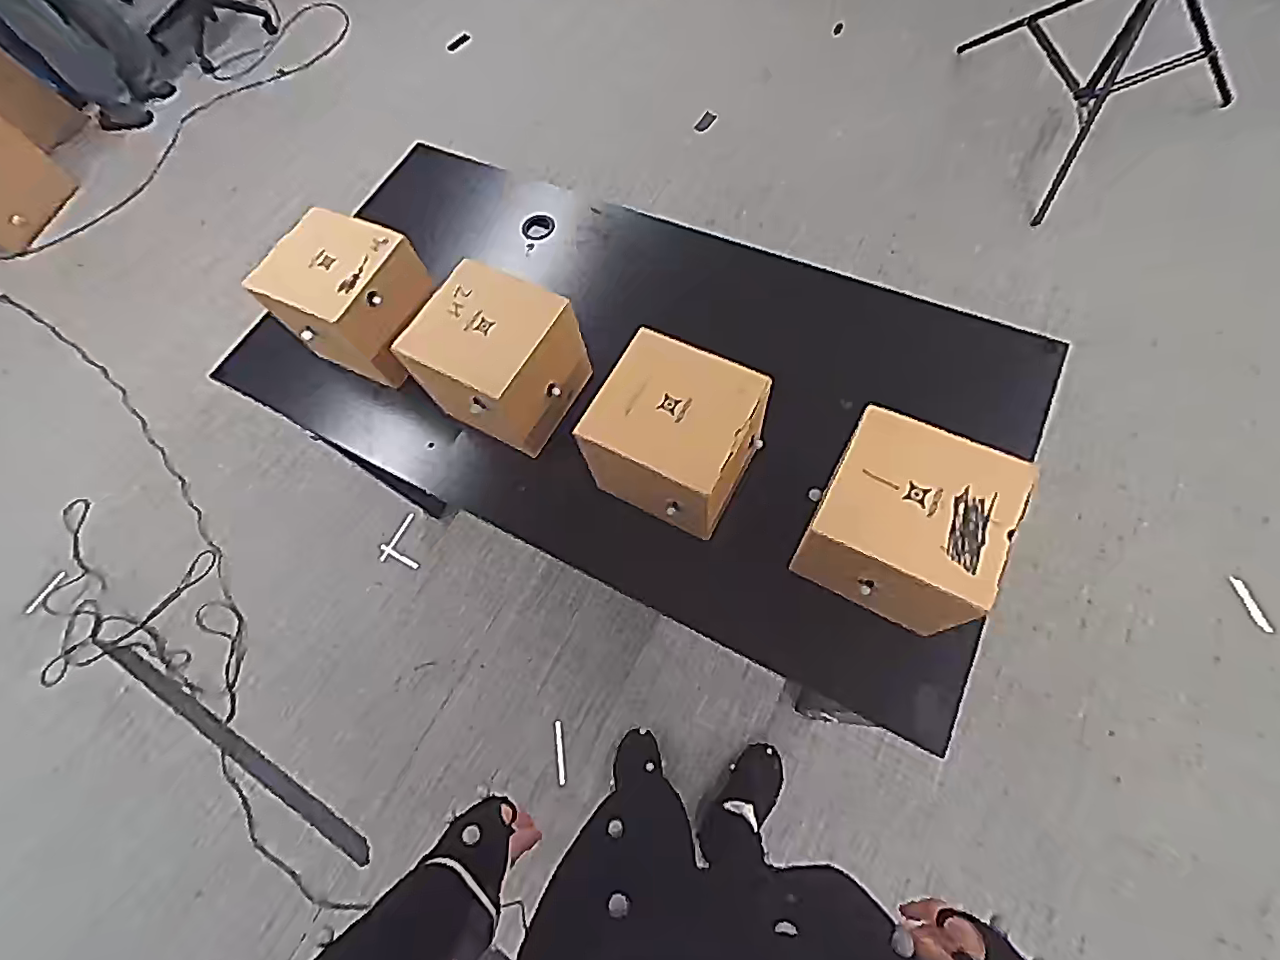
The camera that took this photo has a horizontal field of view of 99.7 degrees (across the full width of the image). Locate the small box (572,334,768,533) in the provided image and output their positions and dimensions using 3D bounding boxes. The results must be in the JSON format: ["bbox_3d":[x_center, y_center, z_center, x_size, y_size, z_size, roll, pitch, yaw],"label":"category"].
[{"bbox_3d":[0.043,-0.049,0.693,0.179,0.176,0.168,25,71,16],"label":"small box"}]

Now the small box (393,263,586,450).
[{"bbox_3d":[-0.196,-0.163,0.764,0.179,0.176,0.168,26,72,16],"label":"small box"}]

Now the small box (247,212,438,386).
[{"bbox_3d":[-0.436,-0.272,0.836,0.179,0.176,0.168,22,72,15],"label":"small box"}]

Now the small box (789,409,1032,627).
[{"bbox_3d":[0.292,0.053,0.618,0.179,0.176,0.168,26,72,17],"label":"small box"}]
